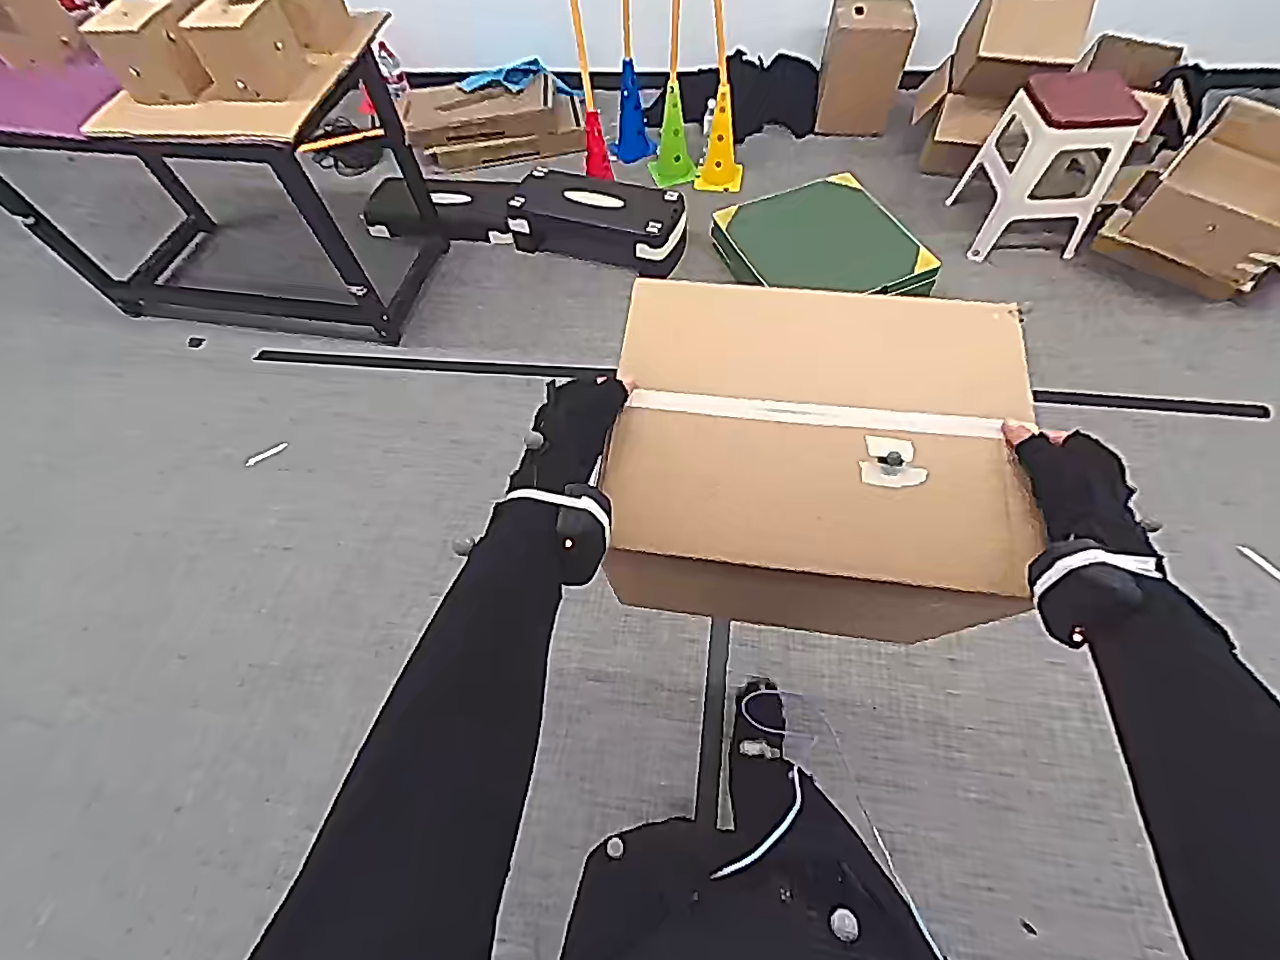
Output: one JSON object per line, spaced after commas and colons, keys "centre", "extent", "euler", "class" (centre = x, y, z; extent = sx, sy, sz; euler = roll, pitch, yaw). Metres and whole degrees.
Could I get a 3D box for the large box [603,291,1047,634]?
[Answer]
{"centre": [0.186, -0.003, 0.682], "extent": [0.408, 0.320, 0.320], "euler": [6, 69, 6], "class": "large box"}
